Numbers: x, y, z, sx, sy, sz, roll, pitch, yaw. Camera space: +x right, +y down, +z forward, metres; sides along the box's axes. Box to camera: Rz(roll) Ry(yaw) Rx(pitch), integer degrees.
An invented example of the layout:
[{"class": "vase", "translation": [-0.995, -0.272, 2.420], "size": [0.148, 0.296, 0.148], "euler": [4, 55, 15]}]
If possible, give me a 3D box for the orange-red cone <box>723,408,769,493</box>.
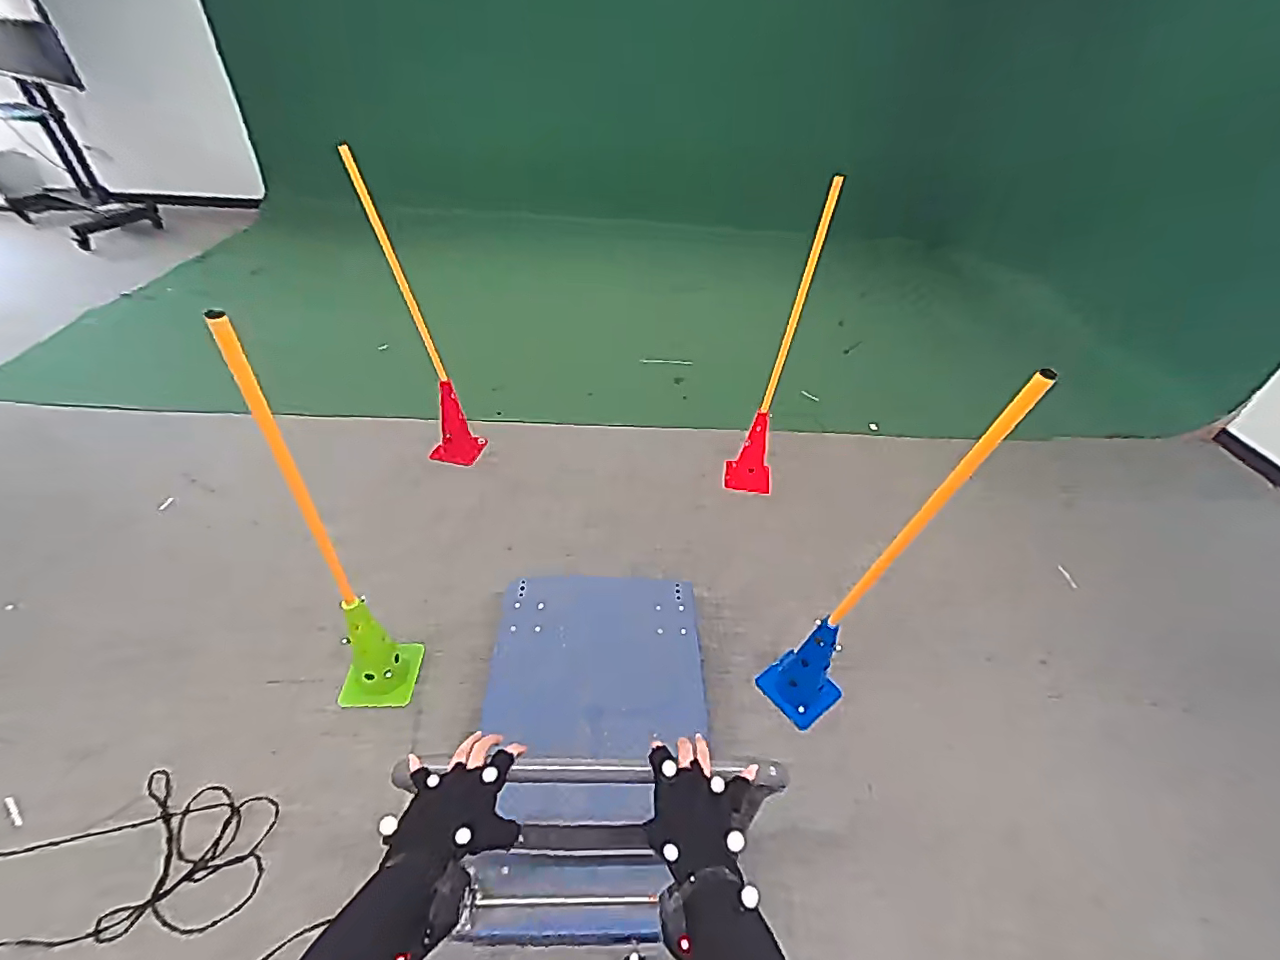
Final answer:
[{"class": "orange-red cone", "translation": [0.479, -0.146, 2.278], "size": [0.198, 0.360, 0.199], "euler": [9, 42, 6]}]
